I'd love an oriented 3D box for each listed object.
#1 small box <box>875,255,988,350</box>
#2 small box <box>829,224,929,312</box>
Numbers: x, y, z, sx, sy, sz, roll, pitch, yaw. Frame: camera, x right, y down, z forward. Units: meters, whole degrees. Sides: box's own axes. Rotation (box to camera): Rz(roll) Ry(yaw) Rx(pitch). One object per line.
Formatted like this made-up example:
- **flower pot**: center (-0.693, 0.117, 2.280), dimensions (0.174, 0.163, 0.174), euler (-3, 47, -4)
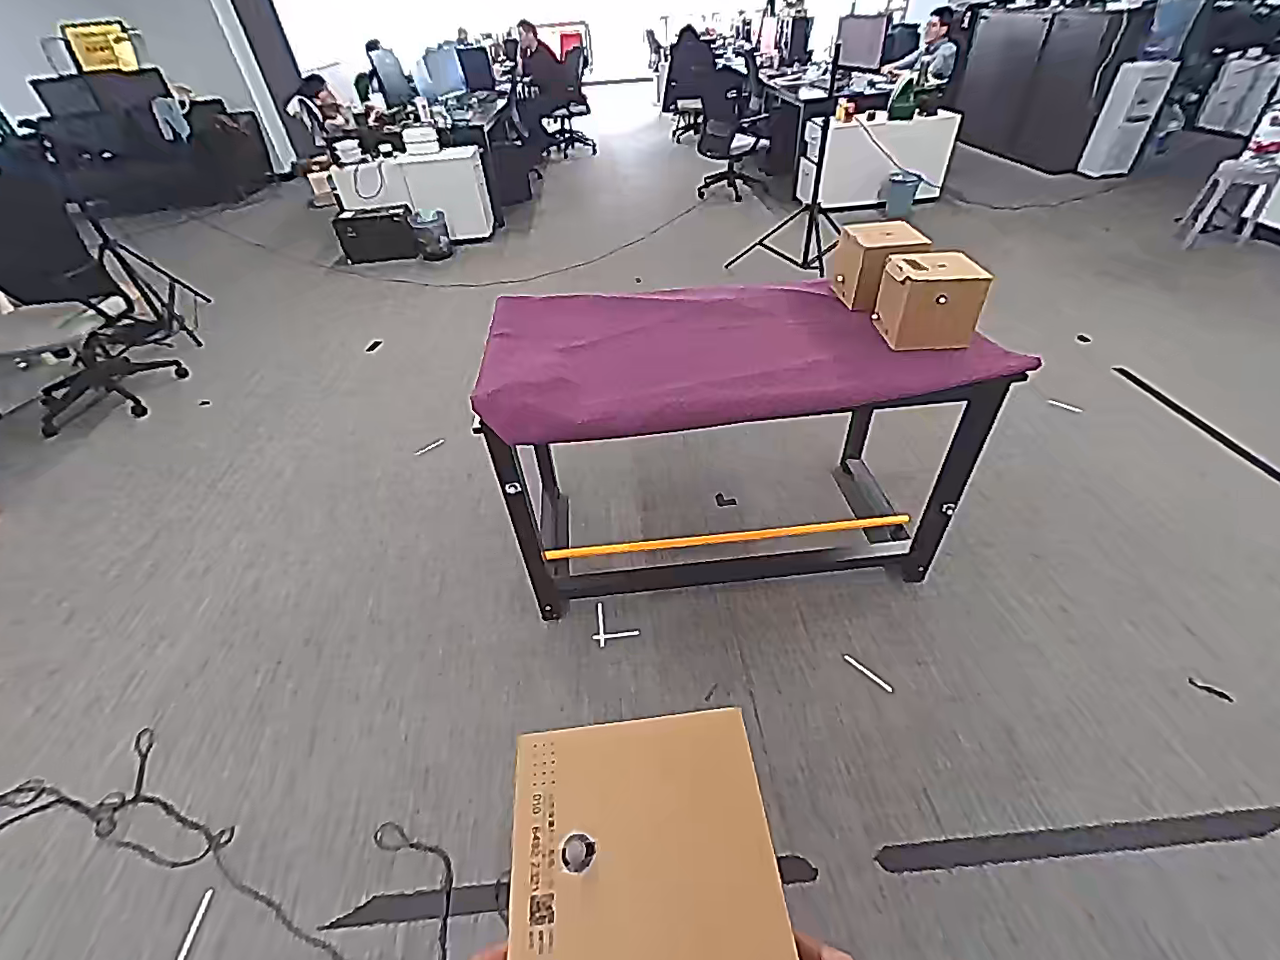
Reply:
- **small box**: center (0.676, -0.418, 1.282), dimensions (0.179, 0.176, 0.168), euler (-2, 40, 3)
- **small box**: center (0.634, -0.570, 1.458), dimensions (0.179, 0.176, 0.168), euler (-6, 42, -2)
